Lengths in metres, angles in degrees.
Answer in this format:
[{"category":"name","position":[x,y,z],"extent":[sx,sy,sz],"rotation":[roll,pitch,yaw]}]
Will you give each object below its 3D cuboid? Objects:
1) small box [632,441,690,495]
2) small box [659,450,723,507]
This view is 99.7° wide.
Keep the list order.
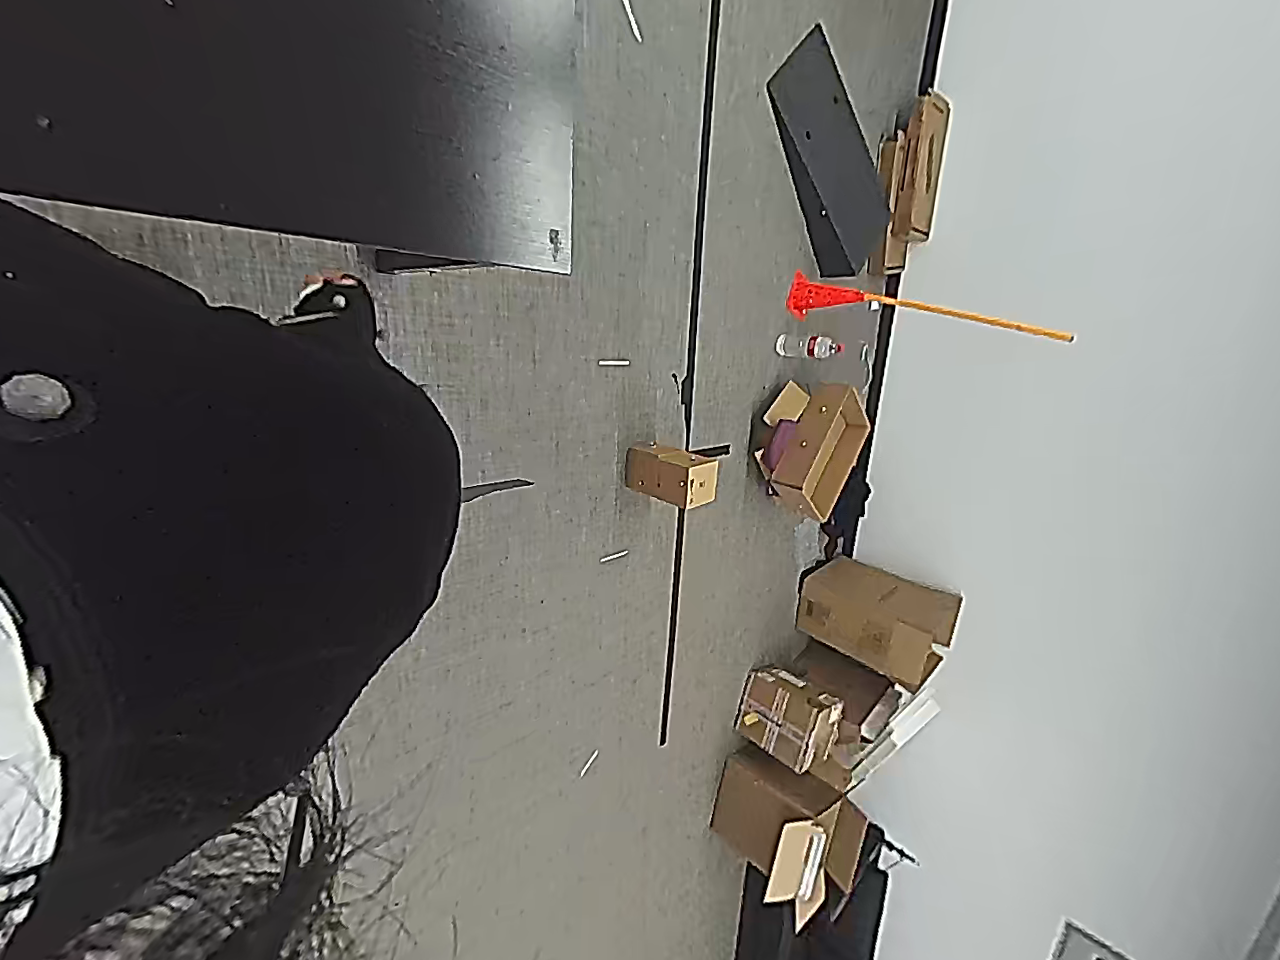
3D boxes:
[{"category":"small box","position":[0.081,-0.053,2.188],"extent":[0.168,0.176,0.179],"rotation":[-13,112,-43]},{"category":"small box","position":[0.195,-0.013,2.076],"extent":[0.179,0.176,0.168],"rotation":[-16,115,-43]}]
